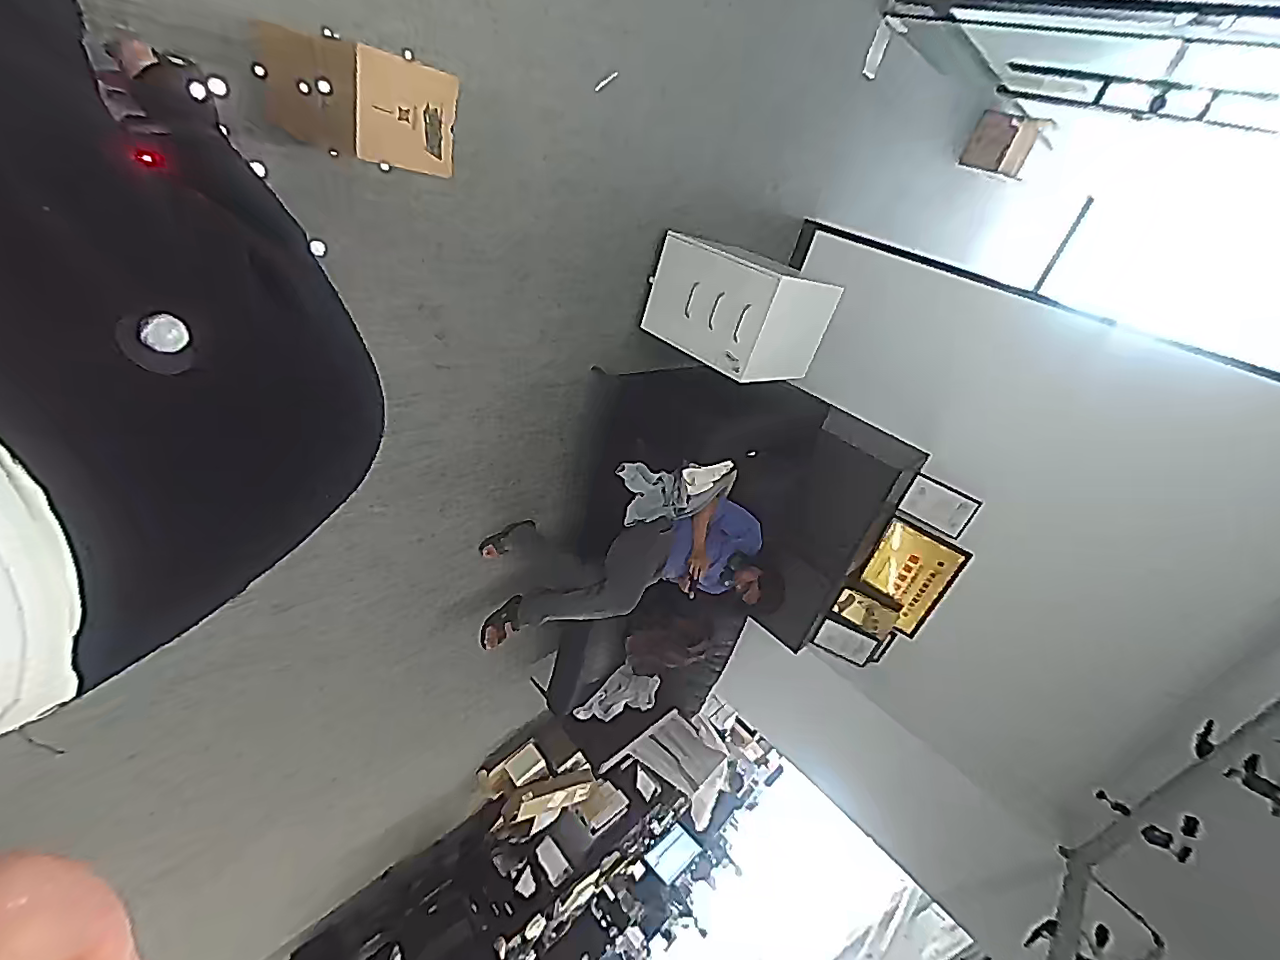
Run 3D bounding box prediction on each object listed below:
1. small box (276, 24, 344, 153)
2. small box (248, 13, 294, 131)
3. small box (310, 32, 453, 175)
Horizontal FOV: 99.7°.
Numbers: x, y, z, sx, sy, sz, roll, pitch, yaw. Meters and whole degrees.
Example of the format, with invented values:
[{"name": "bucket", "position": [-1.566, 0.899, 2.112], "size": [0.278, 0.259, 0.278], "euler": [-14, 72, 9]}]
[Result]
[{"name": "small box", "position": [-0.588, -0.753, 1.057], "size": [0.168, 0.176, 0.179], "euler": [-18, 138, -44]}, {"name": "small box", "position": [-0.700, -0.838, 1.137], "size": [0.168, 0.176, 0.179], "euler": [-18, 136, -46]}, {"name": "small box", "position": [-0.467, -0.675, 0.974], "size": [0.179, 0.176, 0.168], "euler": [-16, 133, -45]}]
